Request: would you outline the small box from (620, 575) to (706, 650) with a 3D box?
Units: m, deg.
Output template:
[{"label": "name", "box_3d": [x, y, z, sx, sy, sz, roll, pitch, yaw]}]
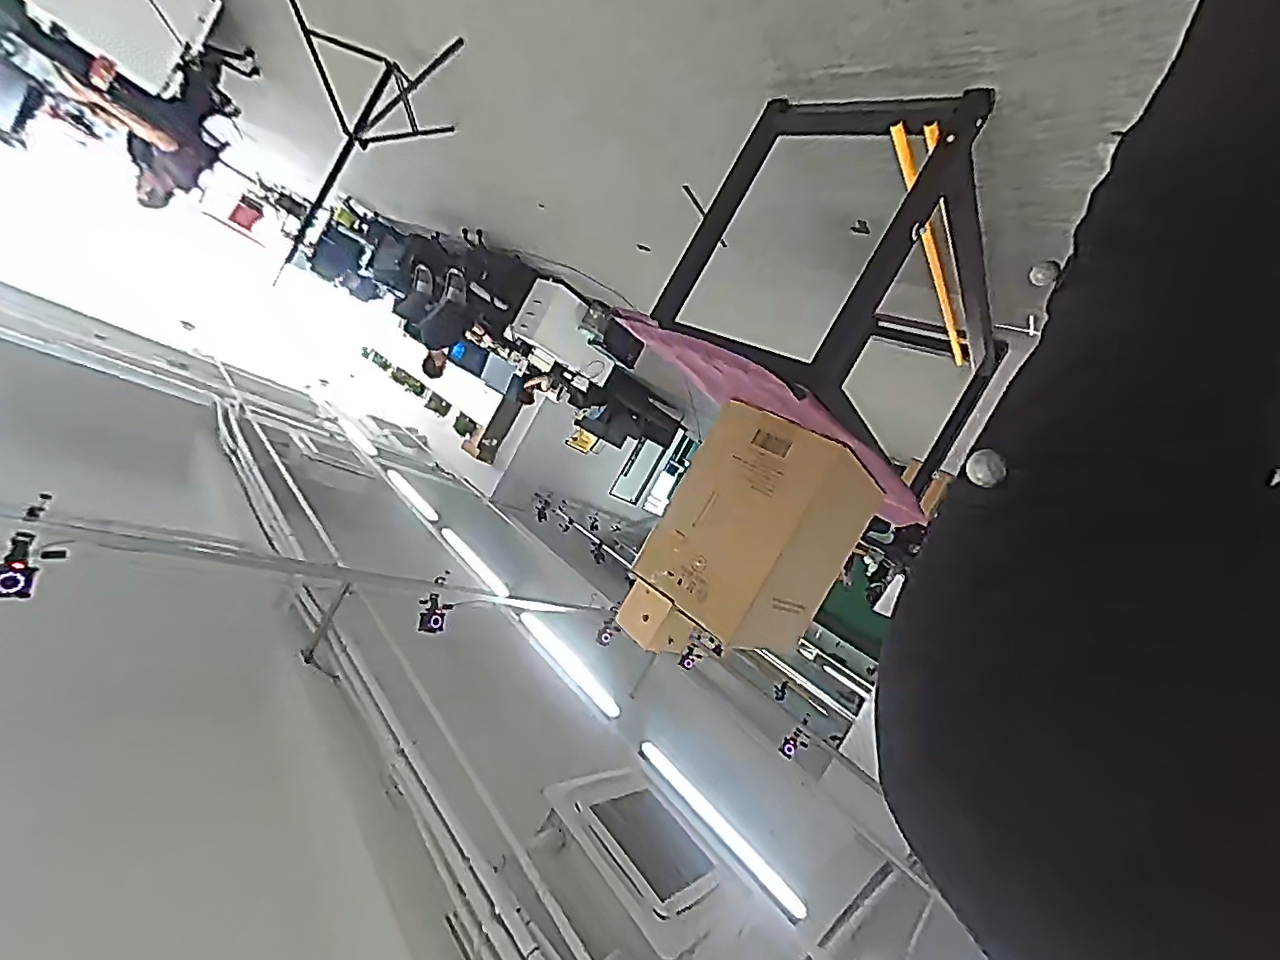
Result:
[{"label": "small box", "box_3d": [0.074, 0.416, 1.715, 0.179, 0.176, 0.168, 24, -174, -46]}]
